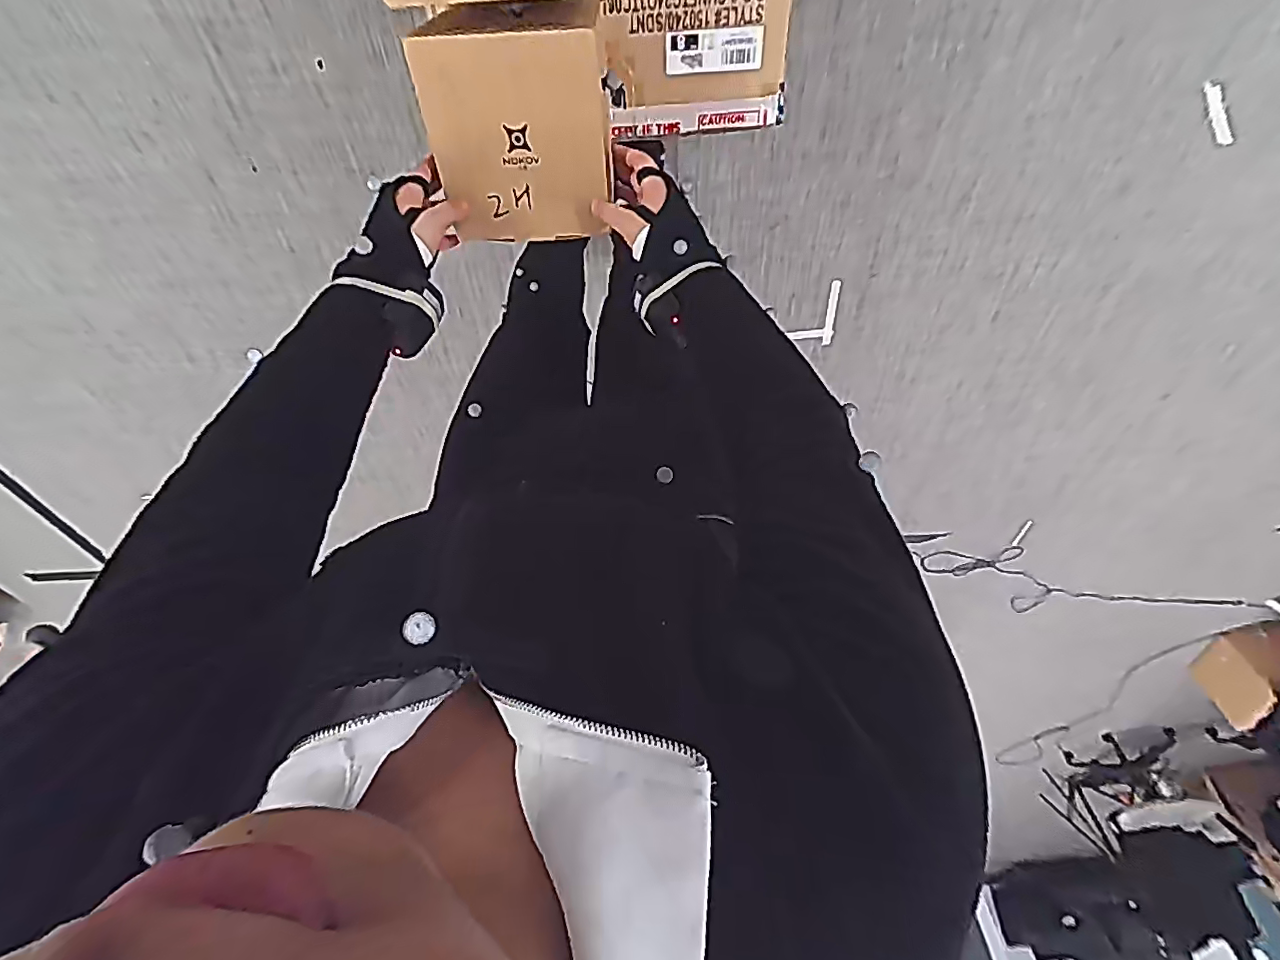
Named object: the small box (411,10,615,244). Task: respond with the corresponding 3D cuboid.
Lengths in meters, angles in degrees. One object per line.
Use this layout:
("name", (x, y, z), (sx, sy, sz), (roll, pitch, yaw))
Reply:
("small box", (-0.114, -0.375, 0.571), (0.168, 0.176, 0.179), (-2, 138, 1))

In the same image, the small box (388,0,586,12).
("small box", (-0.128, -0.504, 0.435), (0.168, 0.176, 0.179), (-2, 137, 2))
